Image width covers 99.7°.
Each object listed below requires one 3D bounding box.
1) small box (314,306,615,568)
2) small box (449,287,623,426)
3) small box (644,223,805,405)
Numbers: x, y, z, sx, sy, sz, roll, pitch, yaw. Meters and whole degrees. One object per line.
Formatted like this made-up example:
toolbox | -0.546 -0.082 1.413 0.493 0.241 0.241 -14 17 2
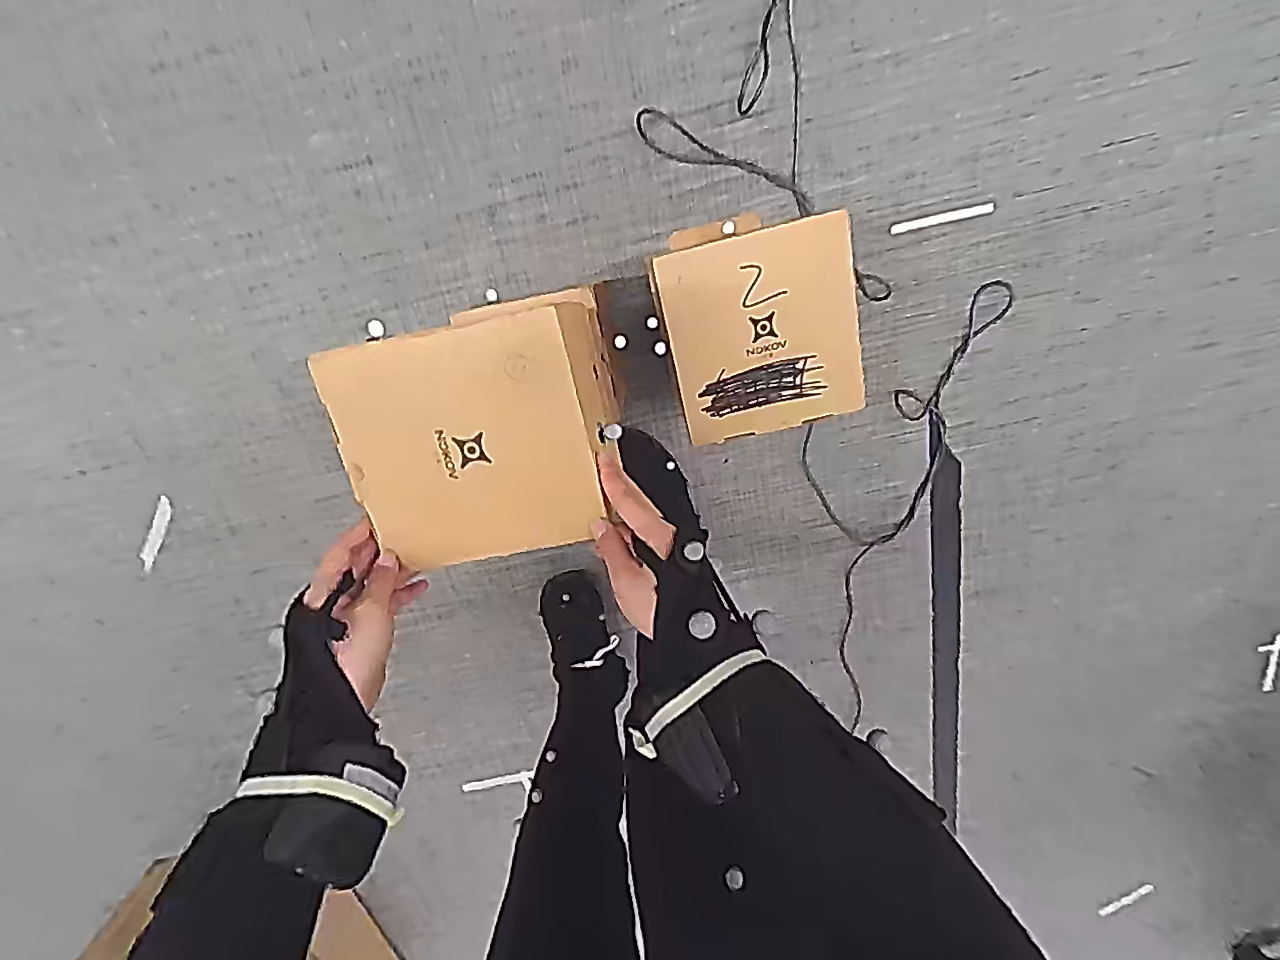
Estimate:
small box | -0.120 -0.048 0.458 0.179 0.176 0.168 -11 107 5
small box | -0.125 -0.160 0.725 0.179 0.176 0.168 -8 112 5
small box | 0.101 -0.217 0.704 0.168 0.176 0.179 -13 112 5
